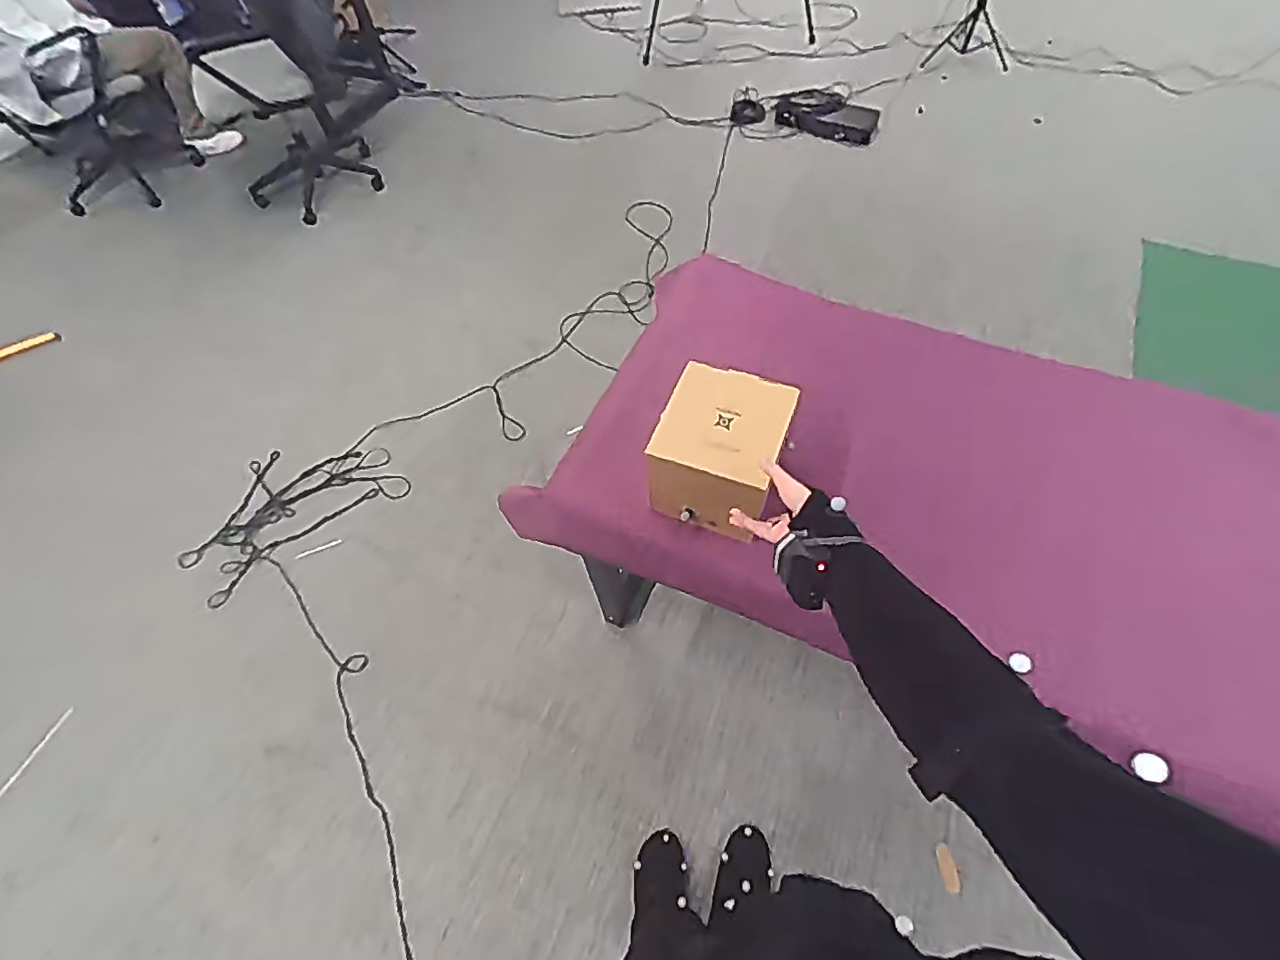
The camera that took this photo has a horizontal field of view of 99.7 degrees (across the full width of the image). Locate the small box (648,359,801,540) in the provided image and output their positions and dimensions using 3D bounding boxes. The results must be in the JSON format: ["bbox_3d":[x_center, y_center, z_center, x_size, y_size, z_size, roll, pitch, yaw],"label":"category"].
[{"bbox_3d":[0.119,-0.042,0.796,0.168,0.176,0.179,19,62,15],"label":"small box"}]
